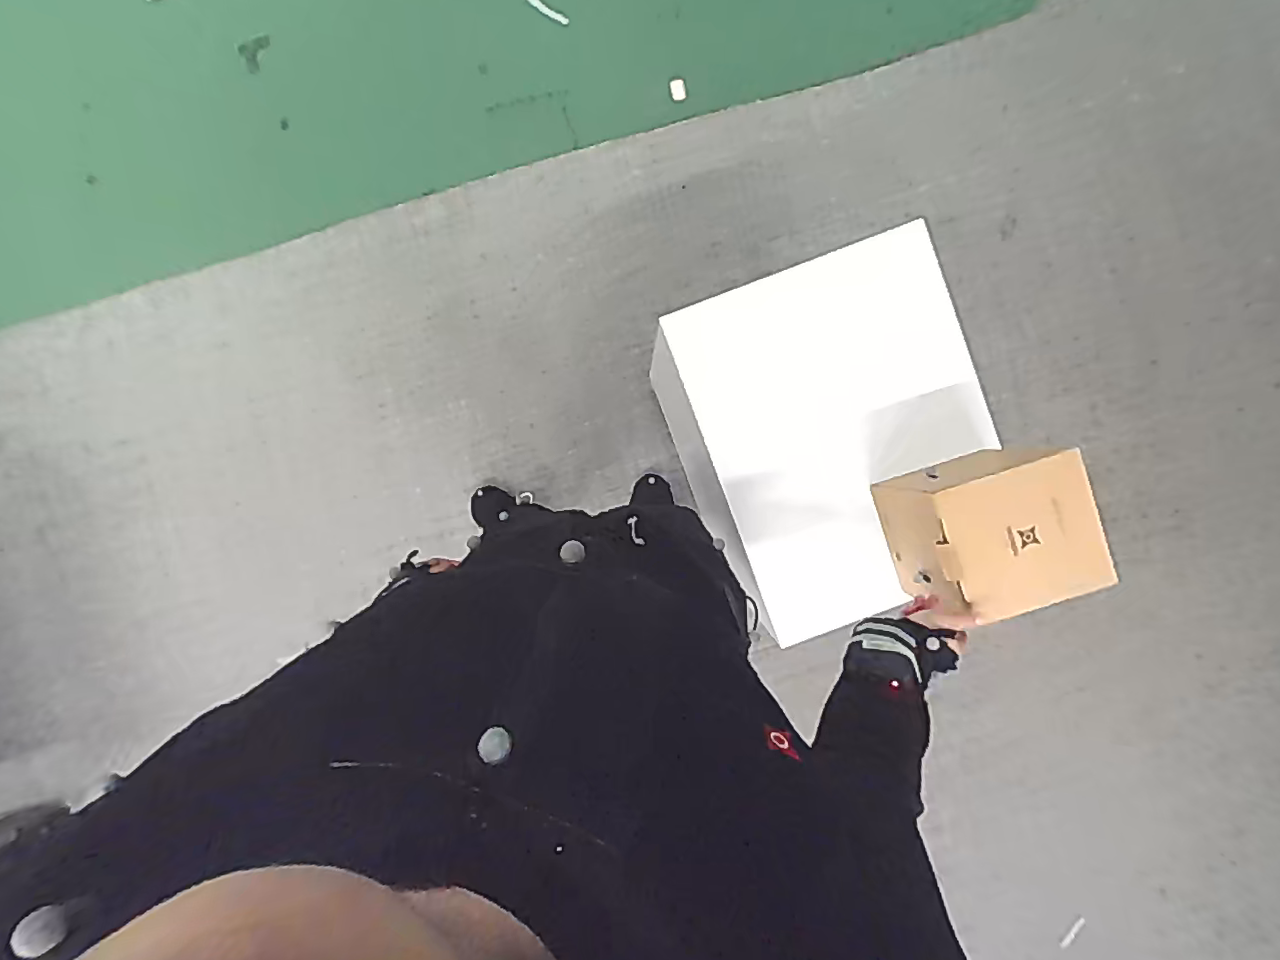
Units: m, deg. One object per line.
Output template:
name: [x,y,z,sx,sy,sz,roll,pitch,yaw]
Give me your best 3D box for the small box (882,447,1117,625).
small box: [0.436,0.062,0.692,0.179,0.176,0.168,-18,93,0]
